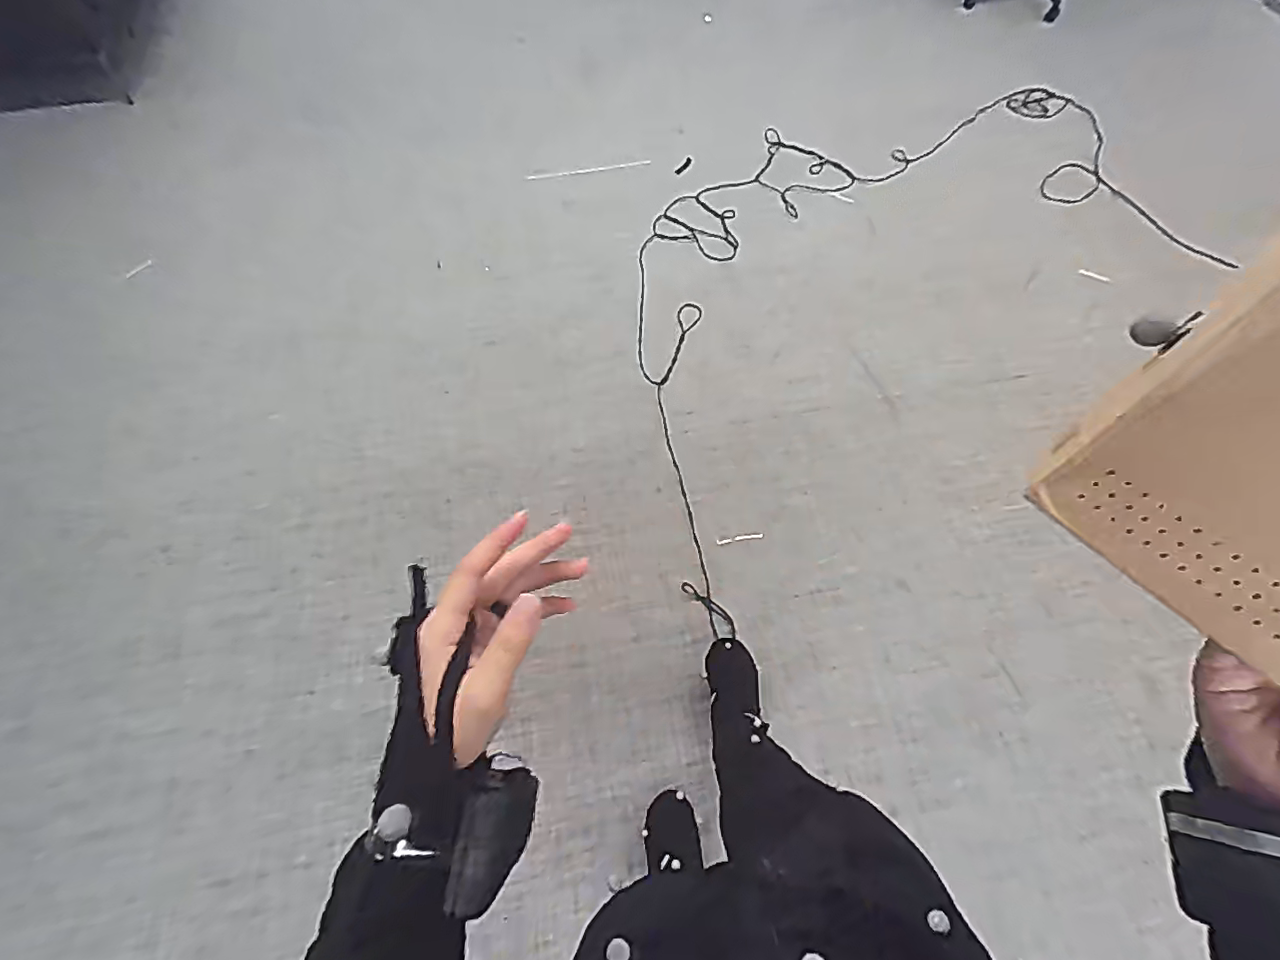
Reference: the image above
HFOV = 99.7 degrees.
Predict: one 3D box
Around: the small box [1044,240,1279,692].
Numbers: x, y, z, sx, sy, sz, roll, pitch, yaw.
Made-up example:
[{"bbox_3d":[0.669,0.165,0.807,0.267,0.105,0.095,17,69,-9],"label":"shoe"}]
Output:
[{"bbox_3d":[0.305,-0.003,0.214,0.179,0.176,0.168,45,35,22],"label":"small box"}]
